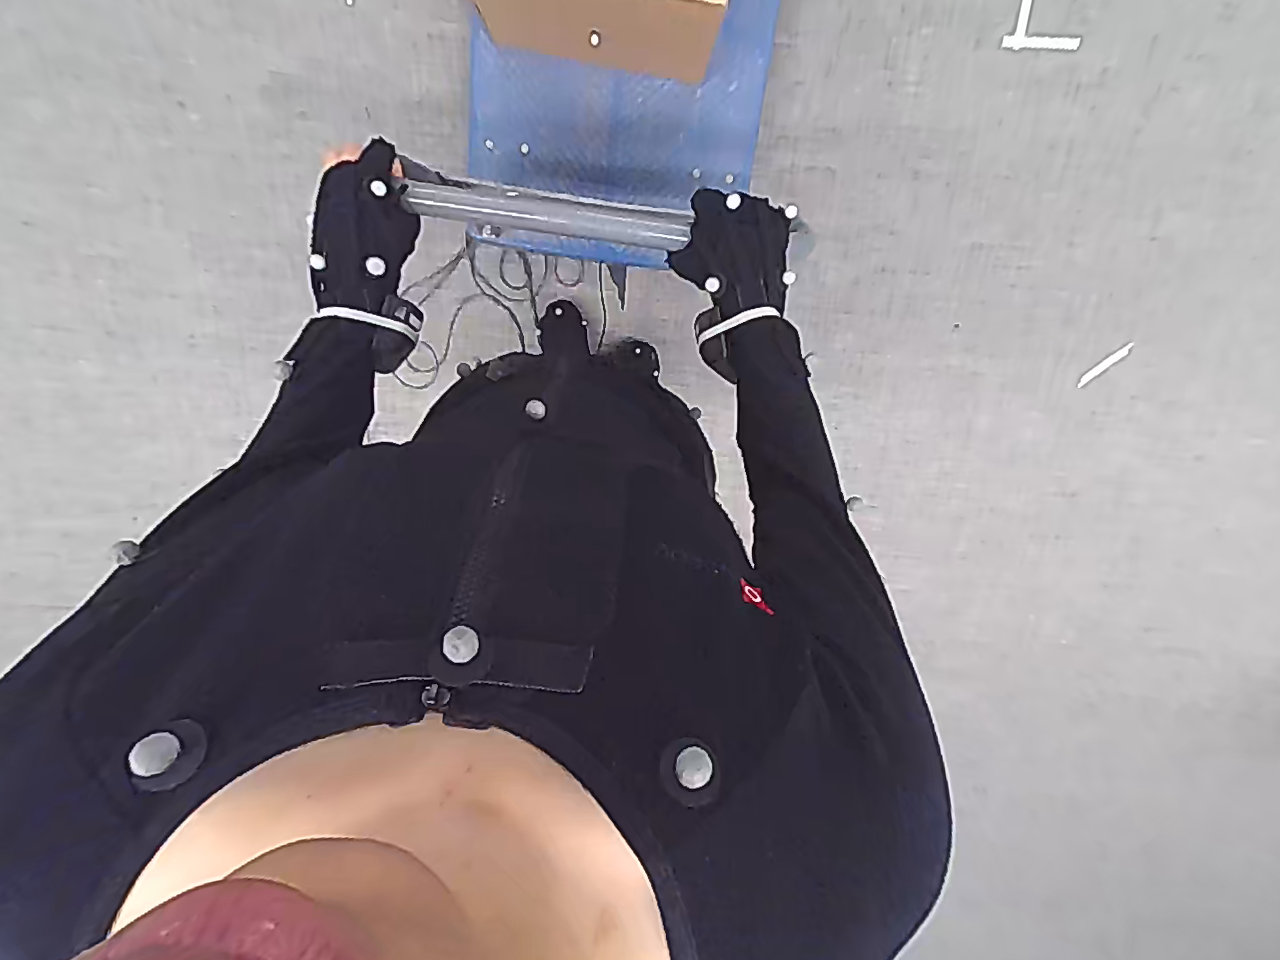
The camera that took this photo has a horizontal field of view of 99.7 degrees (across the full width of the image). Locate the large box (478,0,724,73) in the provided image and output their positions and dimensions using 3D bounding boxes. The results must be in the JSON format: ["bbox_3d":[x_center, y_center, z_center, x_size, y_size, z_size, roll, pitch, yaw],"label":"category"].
[{"bbox_3d":[-0.053,-0.913,0.869,0.408,0.320,0.320,8,109,-3],"label":"large box"}]
